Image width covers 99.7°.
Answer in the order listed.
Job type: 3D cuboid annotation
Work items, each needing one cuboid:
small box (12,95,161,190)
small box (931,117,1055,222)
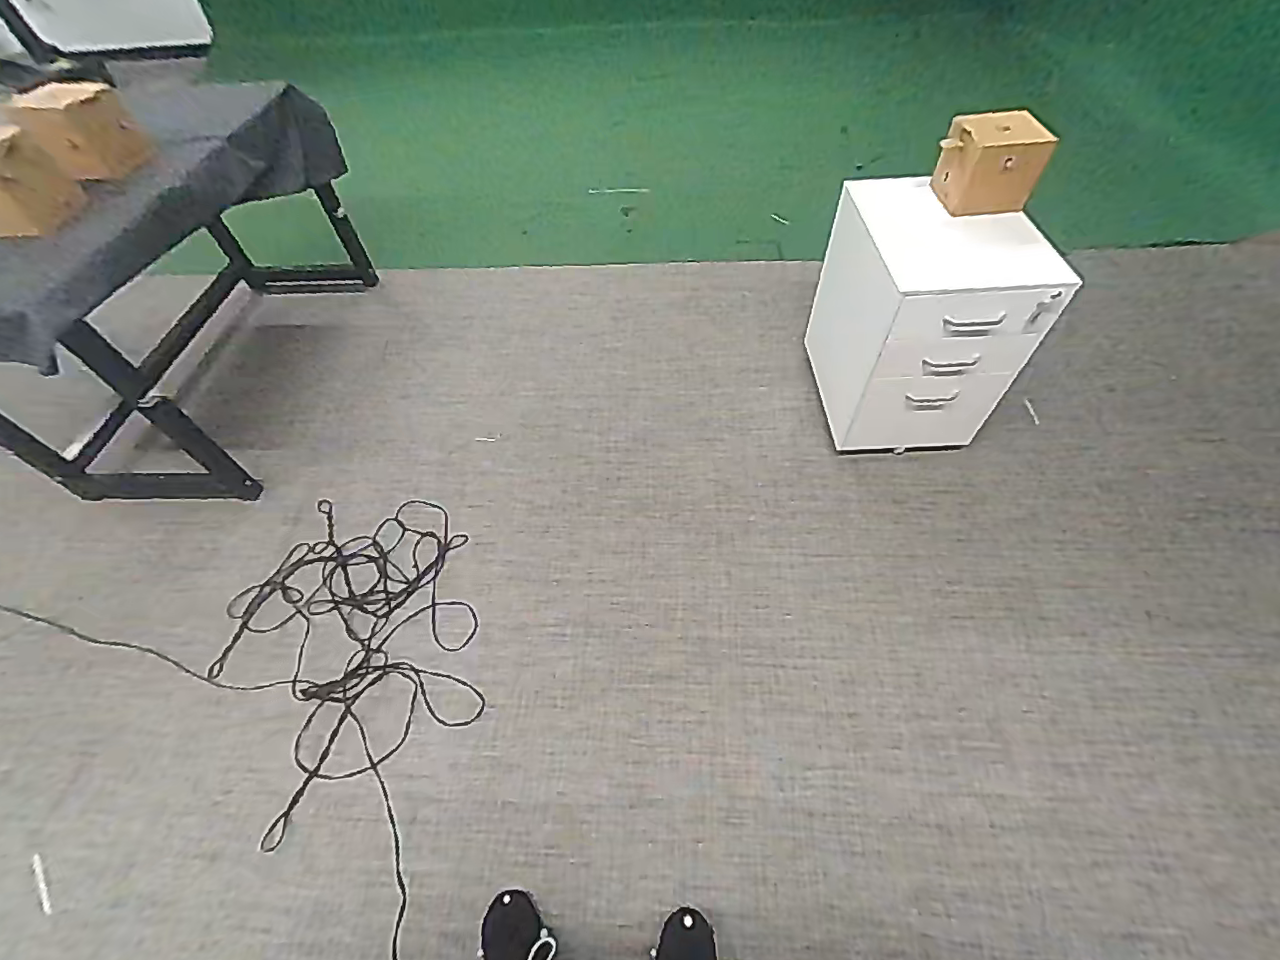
[{"bbox_3d":[-1.435,-0.883,1.420,0.179,0.176,0.168,4,52,8],"label":"small box"},{"bbox_3d":[0.860,-0.764,1.339,0.179,0.176,0.168,-4,54,2],"label":"small box"}]
